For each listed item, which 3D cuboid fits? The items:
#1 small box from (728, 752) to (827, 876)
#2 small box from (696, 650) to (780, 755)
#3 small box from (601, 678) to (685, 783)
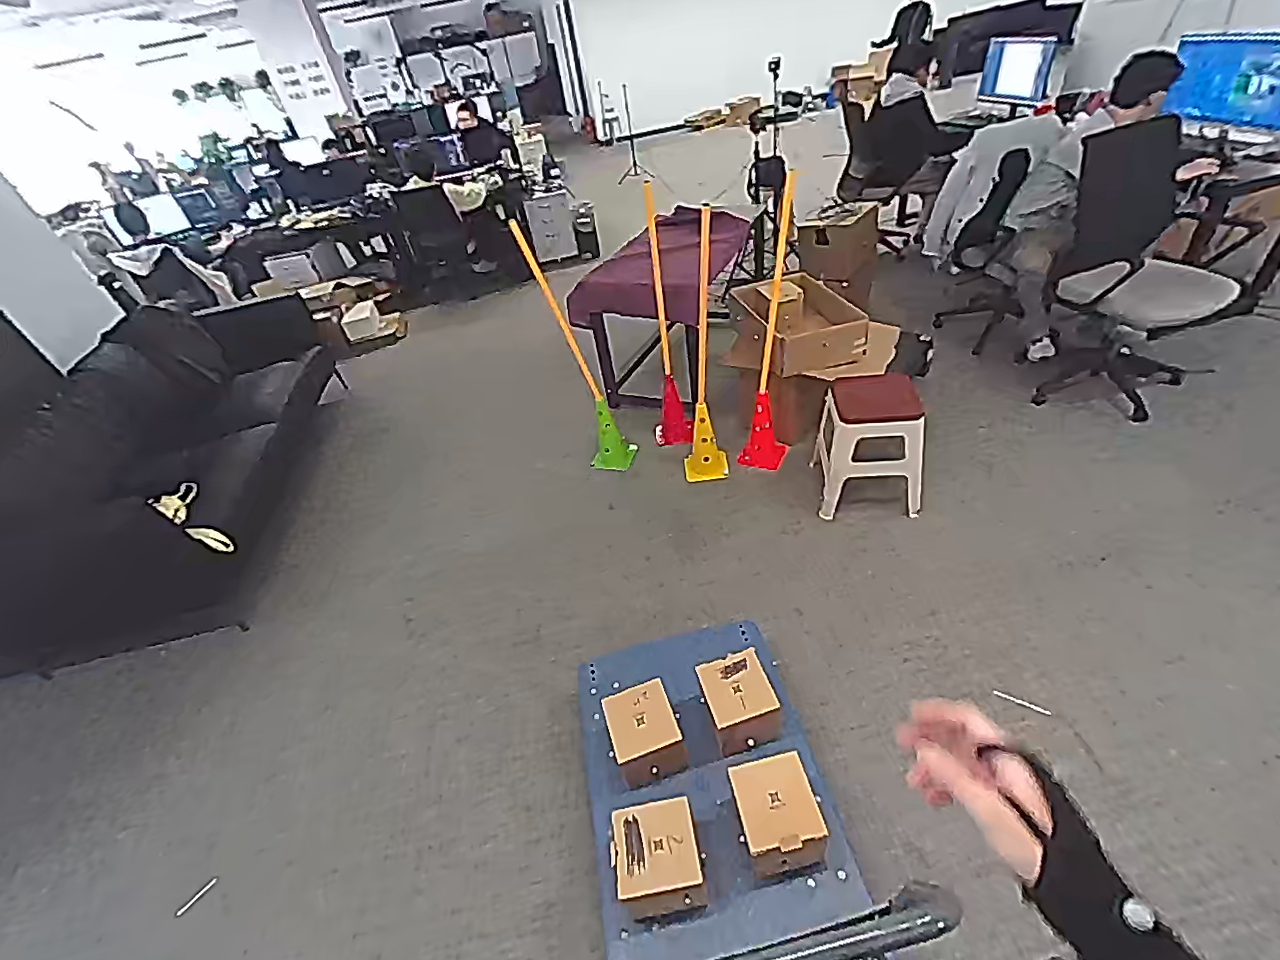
[{"bbox_3d":[0.303,0.753,1.219,0.168,0.176,0.179,-13,40,-2],"label":"small box"},{"bbox_3d":[0.256,0.586,1.424,0.168,0.176,0.179,-17,41,-5],"label":"small box"},{"bbox_3d":[0.011,0.656,1.401,0.168,0.176,0.179,-17,40,-8],"label":"small box"}]
